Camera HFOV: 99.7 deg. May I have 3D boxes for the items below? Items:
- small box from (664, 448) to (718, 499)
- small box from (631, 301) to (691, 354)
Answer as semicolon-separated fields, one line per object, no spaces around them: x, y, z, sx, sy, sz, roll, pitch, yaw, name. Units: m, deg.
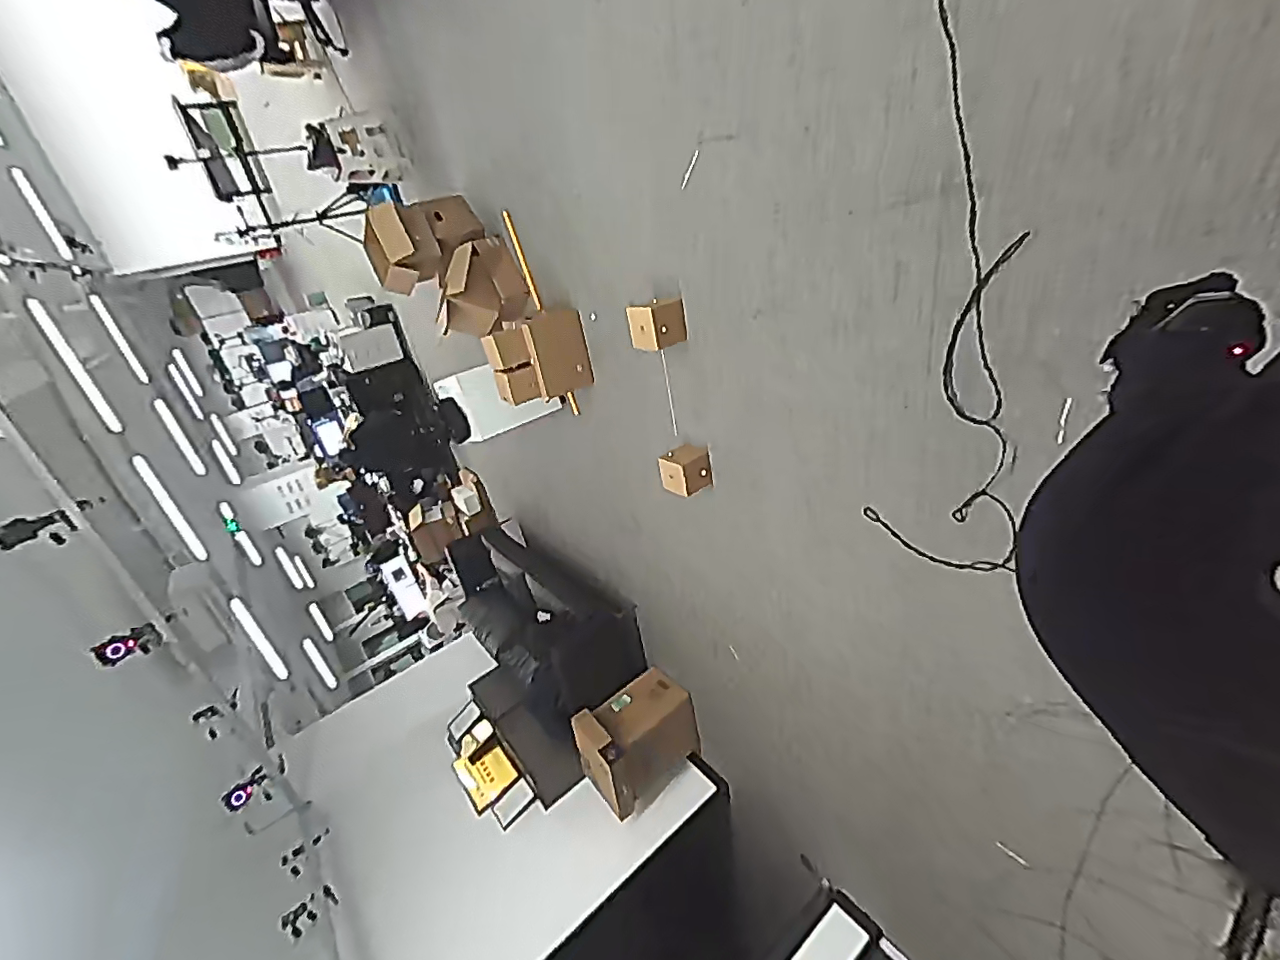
0.240;-0.037;2.541;0.179;0.176;0.168;22;133;49;small box
0.090;-0.639;2.249;0.168;0.176;0.179;21;133;49;small box
